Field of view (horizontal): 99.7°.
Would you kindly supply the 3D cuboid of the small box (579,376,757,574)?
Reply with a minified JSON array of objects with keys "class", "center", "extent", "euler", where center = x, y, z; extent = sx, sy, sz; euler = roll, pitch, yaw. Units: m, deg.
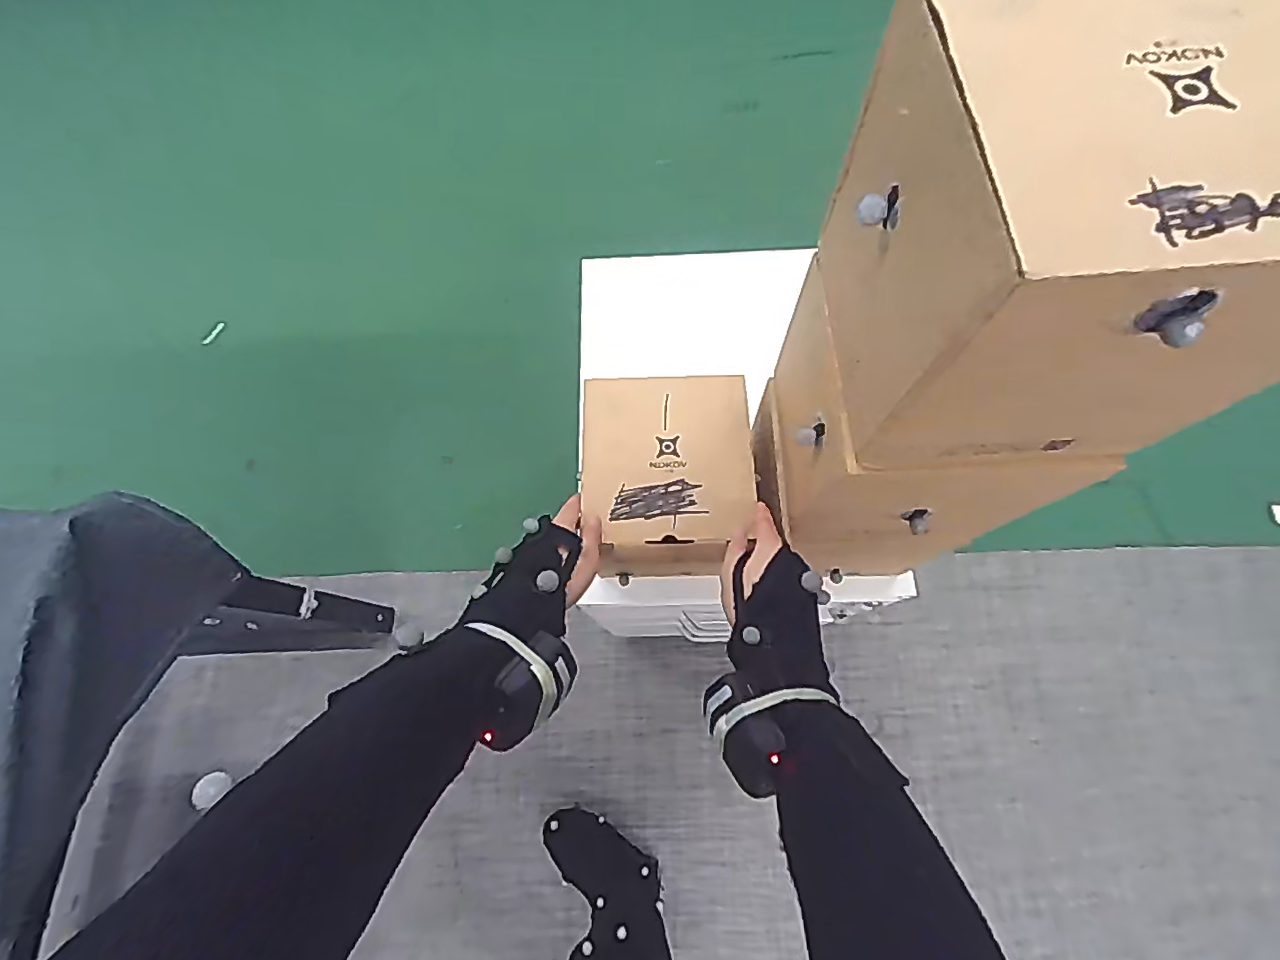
[{"class":"small box","center":[0.028,0.005,0.591],"extent":[0.168,0.176,0.179],"euler":[-1,69,1]}]

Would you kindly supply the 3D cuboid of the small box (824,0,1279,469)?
[{"class":"small box","center":[0.208,-0.119,0.280],"extent":[0.168,0.176,0.179],"euler":[-3,69,2]}]

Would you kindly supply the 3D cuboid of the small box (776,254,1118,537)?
[{"class":"small box","center":[0.211,-0.055,0.431],"extent":[0.168,0.176,0.179],"euler":[-1,69,2]}]
